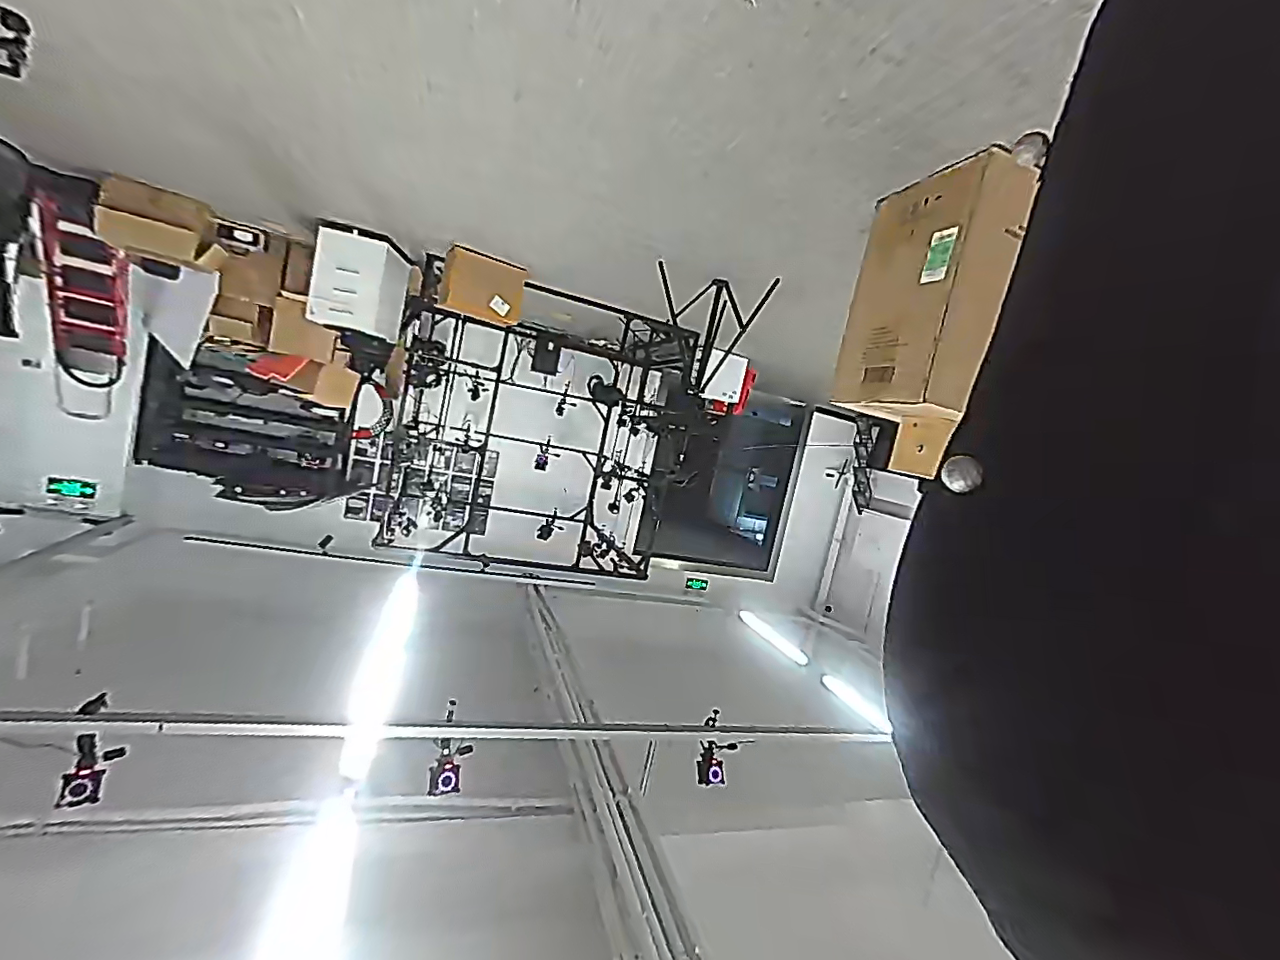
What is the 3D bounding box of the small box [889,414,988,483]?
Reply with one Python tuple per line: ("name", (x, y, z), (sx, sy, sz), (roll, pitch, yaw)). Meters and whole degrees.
("small box", (0.865, -0.096, 1.569), (0.179, 0.176, 0.168), (9, -175, -19))
